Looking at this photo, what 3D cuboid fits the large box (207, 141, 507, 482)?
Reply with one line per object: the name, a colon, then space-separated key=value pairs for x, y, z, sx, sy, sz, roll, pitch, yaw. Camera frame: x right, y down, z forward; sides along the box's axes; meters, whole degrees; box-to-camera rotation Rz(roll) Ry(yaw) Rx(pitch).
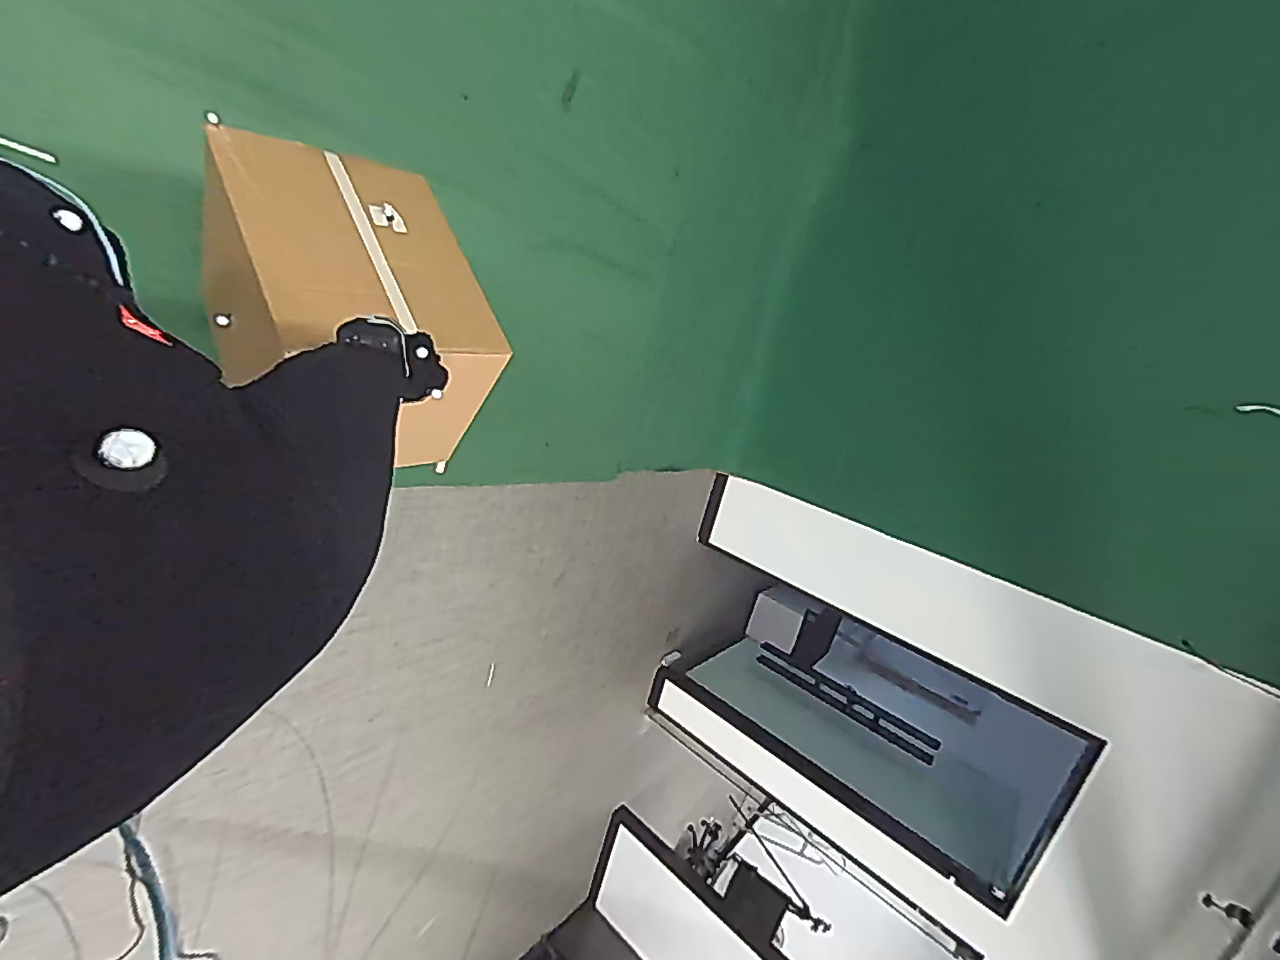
large box: x=-0.488 y=-0.260 z=0.909 sx=0.320 sy=0.408 sz=0.320 roll=-12 pitch=156 yaw=-45
